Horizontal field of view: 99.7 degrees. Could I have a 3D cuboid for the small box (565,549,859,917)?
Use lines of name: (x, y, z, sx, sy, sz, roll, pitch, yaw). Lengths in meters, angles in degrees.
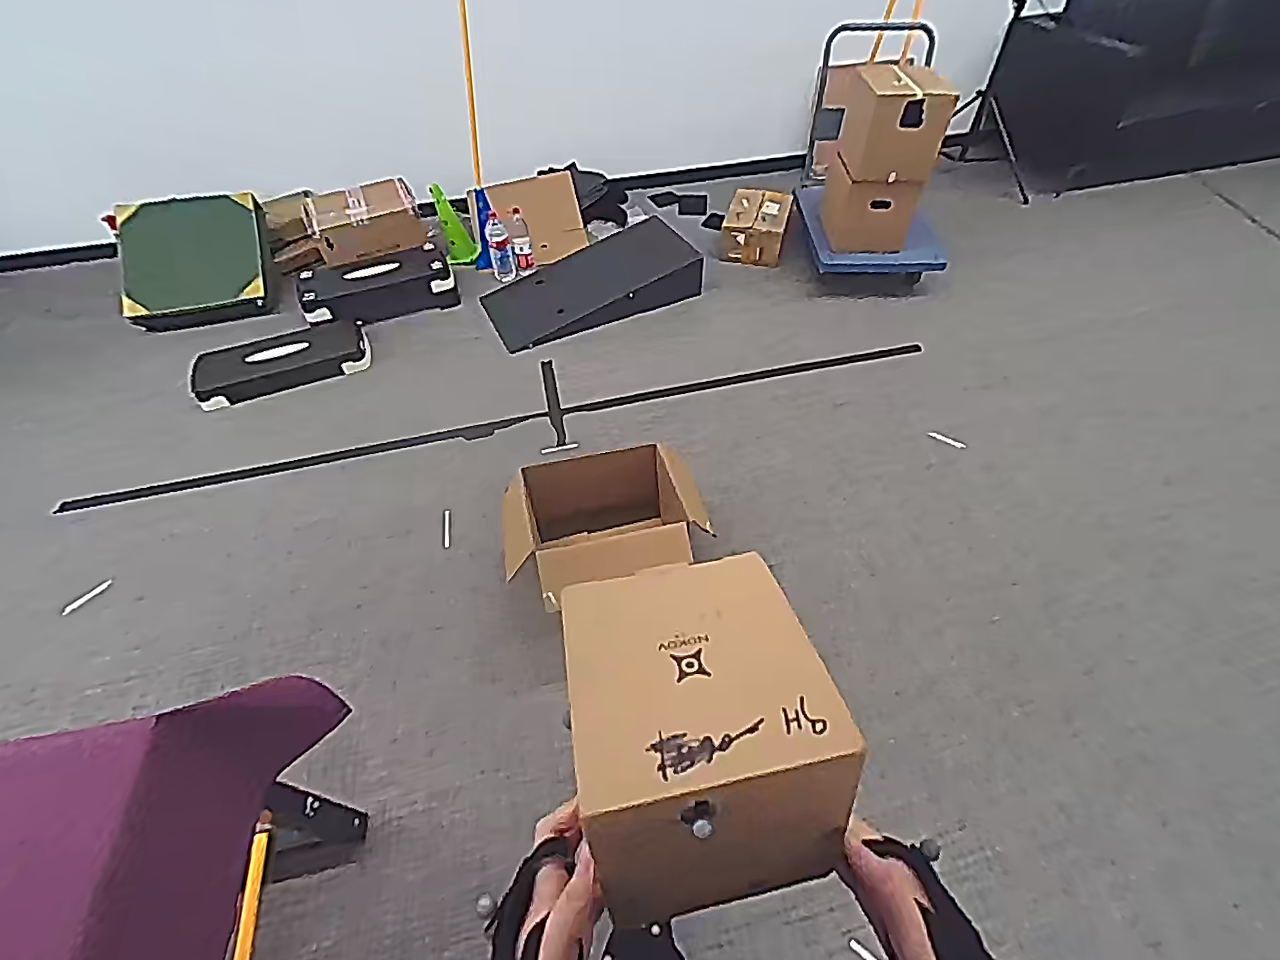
small box: (0.038, 0.182, 0.413, 0.168, 0.176, 0.179, -10, 33, -6)
